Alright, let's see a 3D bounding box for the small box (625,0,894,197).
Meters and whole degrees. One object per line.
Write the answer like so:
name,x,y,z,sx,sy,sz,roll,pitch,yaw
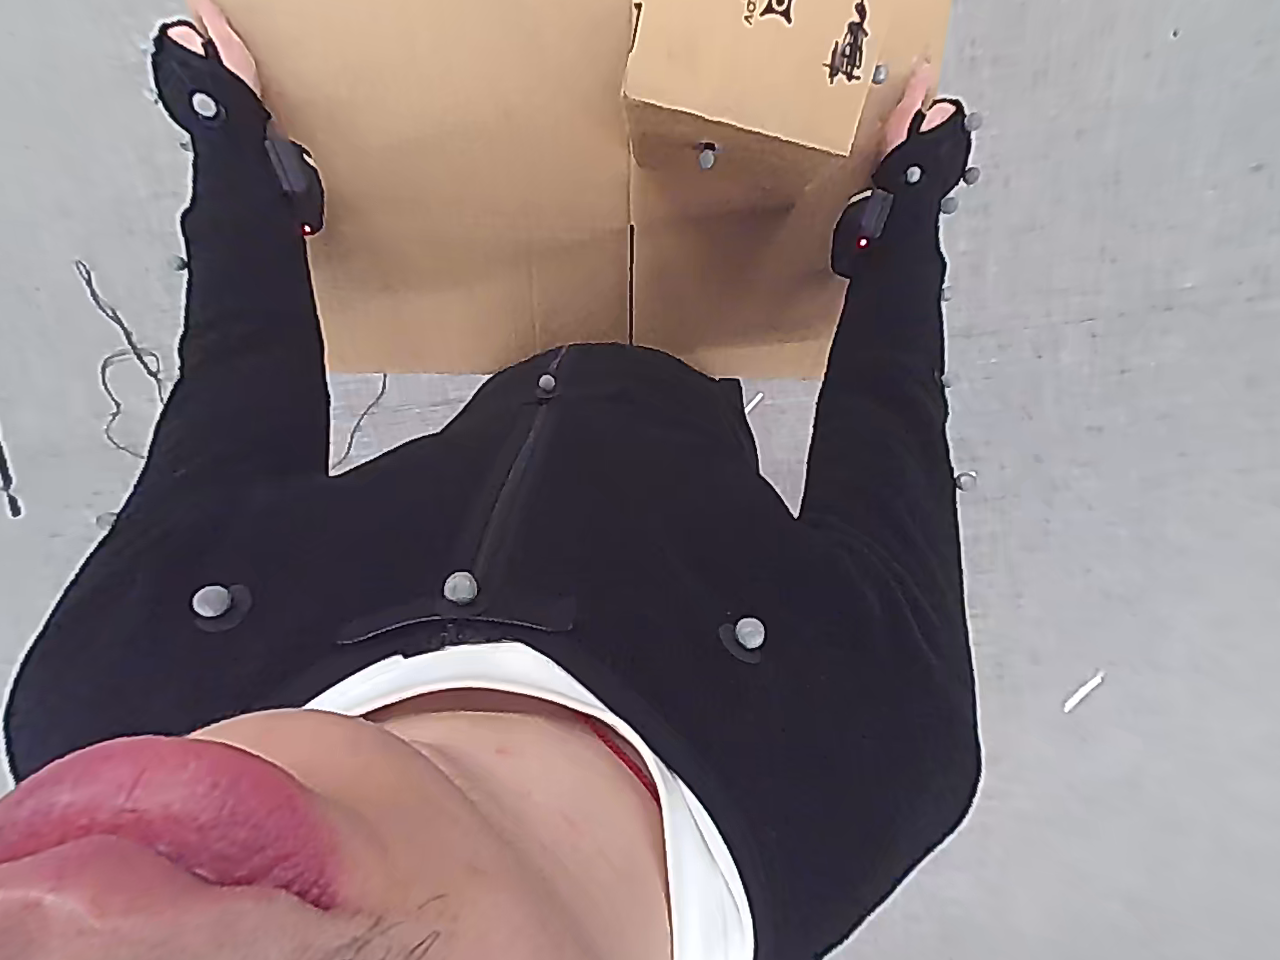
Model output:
small box,0.097,-0.363,0.463,0.179,0.176,0.168,14,106,0
